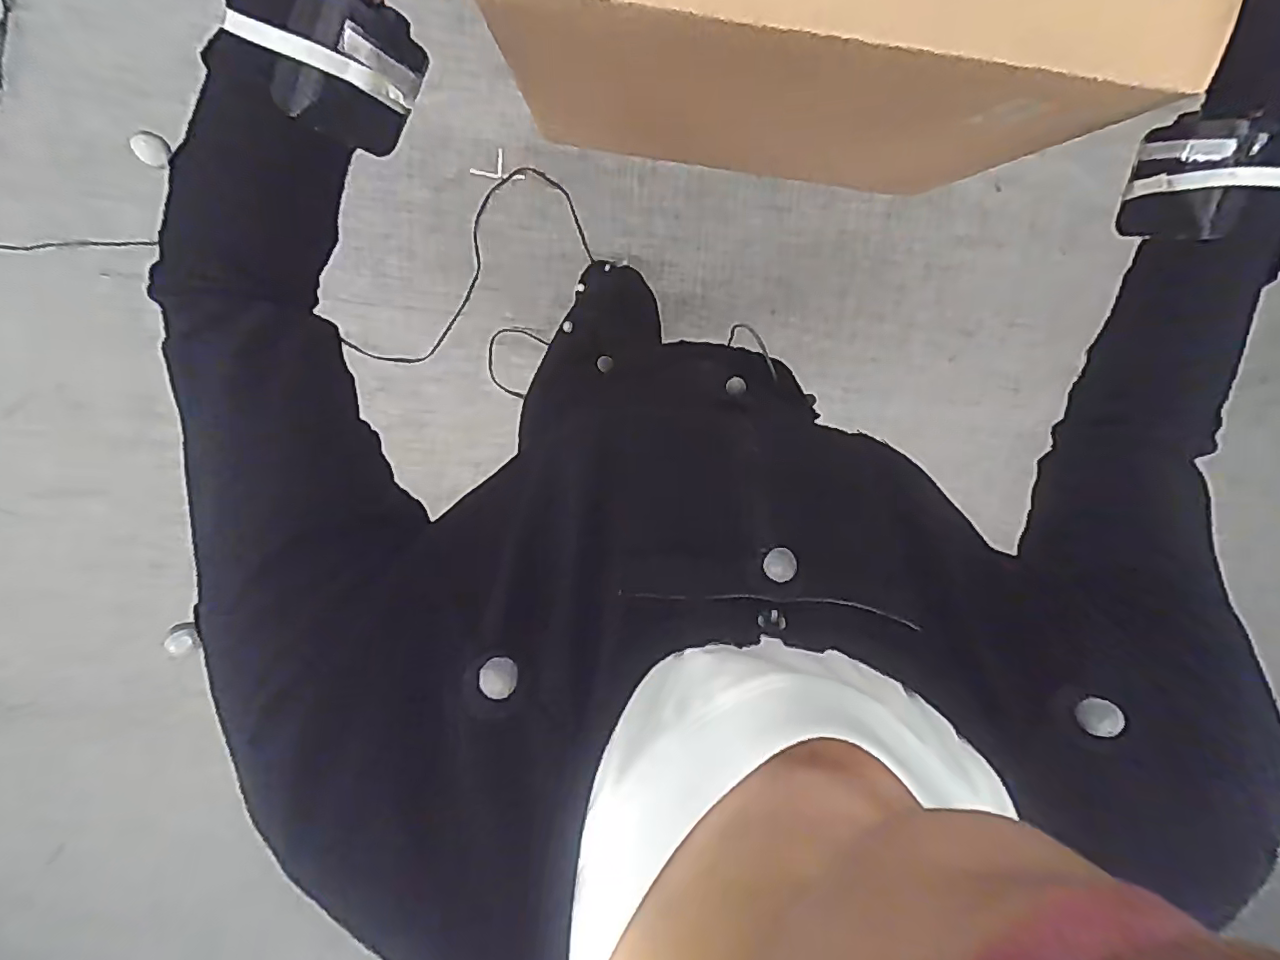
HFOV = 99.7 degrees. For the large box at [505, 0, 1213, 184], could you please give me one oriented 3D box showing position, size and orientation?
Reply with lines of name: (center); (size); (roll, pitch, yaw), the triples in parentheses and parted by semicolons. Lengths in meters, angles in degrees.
large box: (0.124, -0.436, 0.391); (0.408, 0.320, 0.320); (5, 109, -5)
